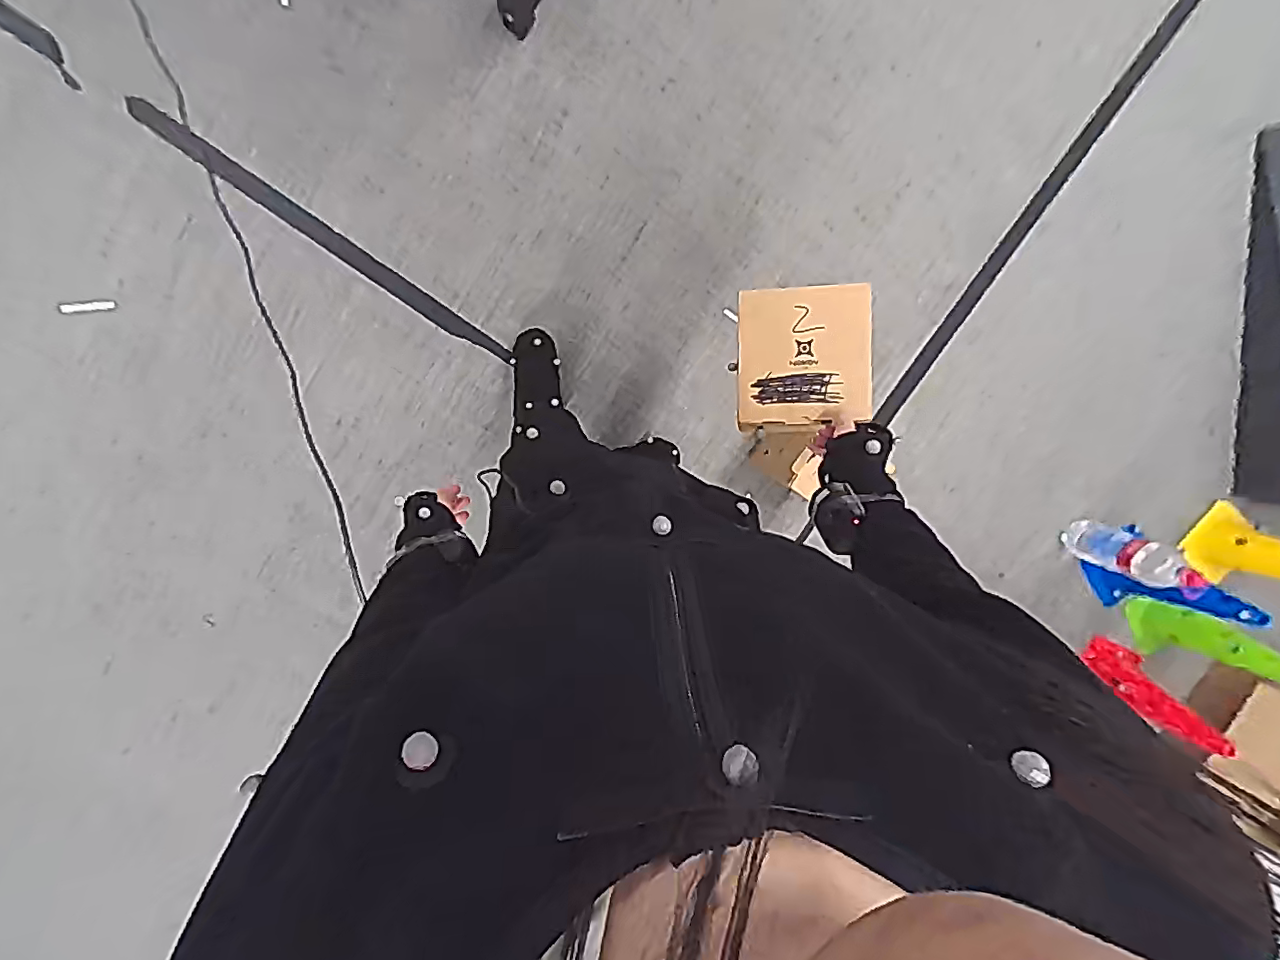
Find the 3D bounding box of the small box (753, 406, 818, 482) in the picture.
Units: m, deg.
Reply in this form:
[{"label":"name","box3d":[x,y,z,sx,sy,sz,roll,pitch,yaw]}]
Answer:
[{"label":"small box","box3d":[0.409,-0.071,1.374,0.168,0.176,0.179,30,98,-12]}]

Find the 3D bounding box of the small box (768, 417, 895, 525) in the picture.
[{"label":"small box","box3d":[0.419,-0.029,1.216,0.179,0.176,0.168,33,98,-13]}]
